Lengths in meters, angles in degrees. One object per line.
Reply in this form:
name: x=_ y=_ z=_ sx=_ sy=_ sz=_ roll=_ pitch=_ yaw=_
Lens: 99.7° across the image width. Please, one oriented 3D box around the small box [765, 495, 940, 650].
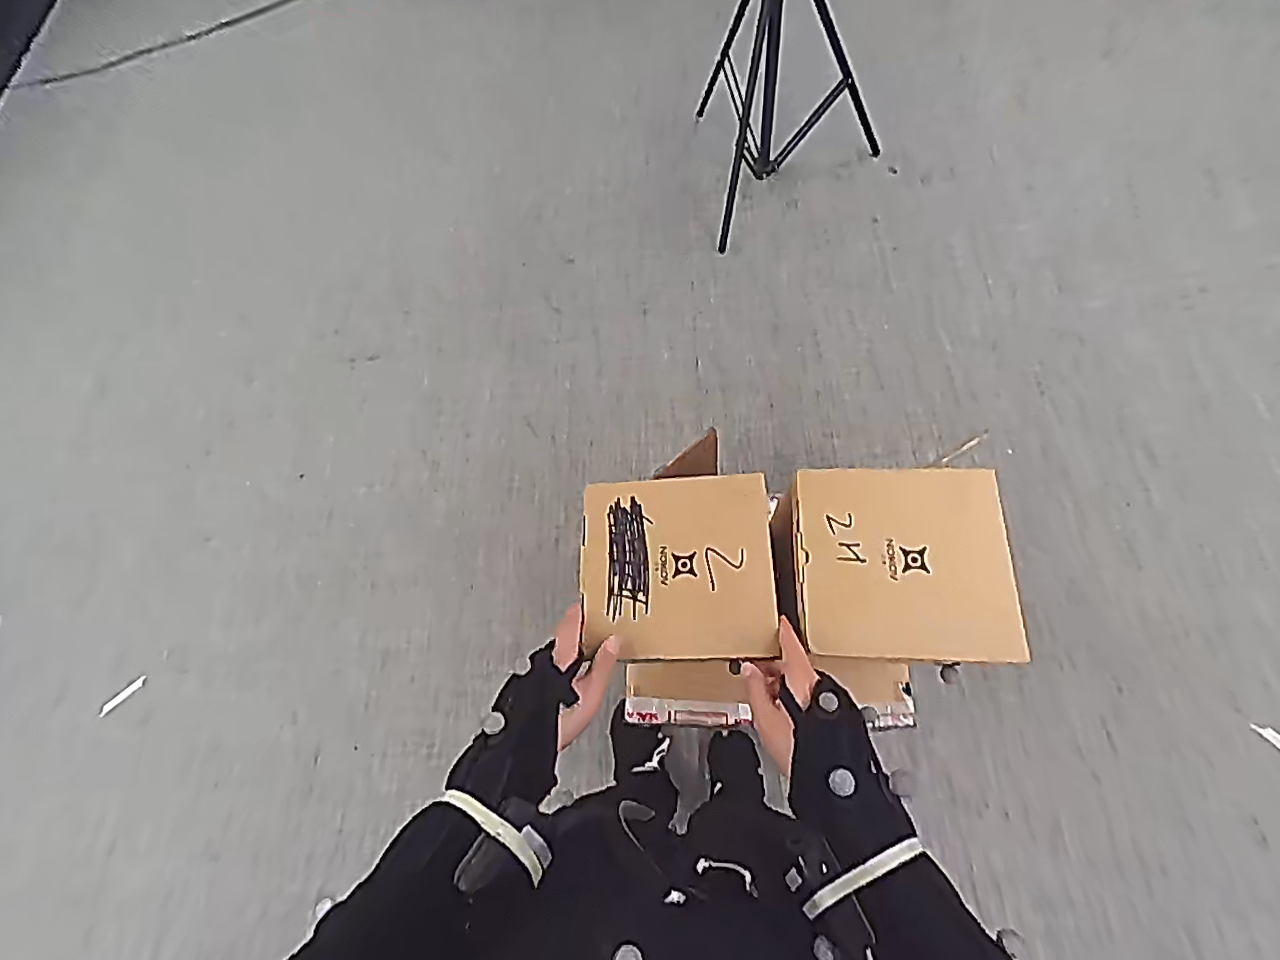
small box: x=0.257 y=0.125 z=0.697 sx=0.179 sy=0.176 sz=0.168 roll=3 pitch=71 yaw=8
